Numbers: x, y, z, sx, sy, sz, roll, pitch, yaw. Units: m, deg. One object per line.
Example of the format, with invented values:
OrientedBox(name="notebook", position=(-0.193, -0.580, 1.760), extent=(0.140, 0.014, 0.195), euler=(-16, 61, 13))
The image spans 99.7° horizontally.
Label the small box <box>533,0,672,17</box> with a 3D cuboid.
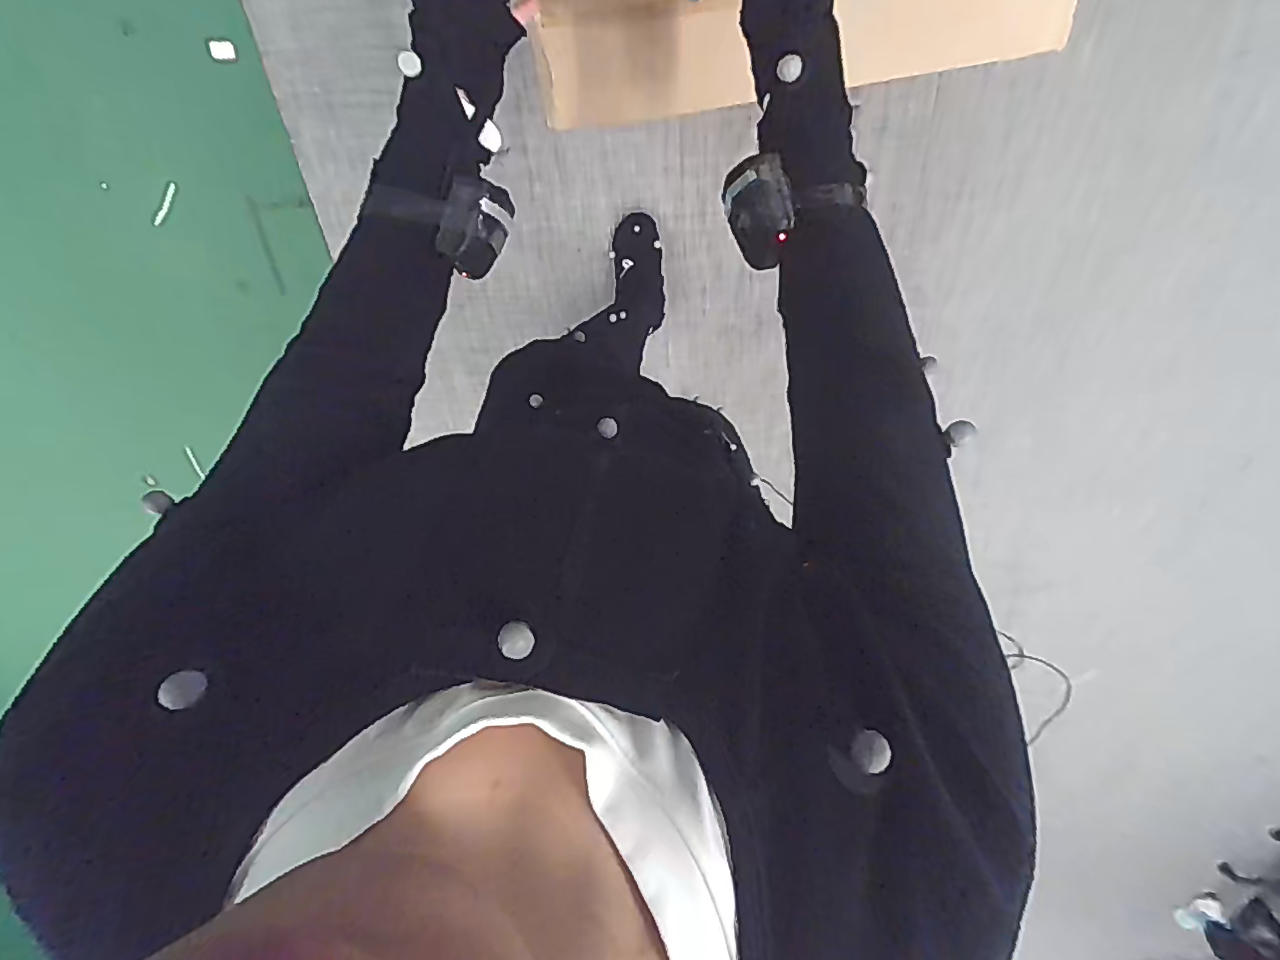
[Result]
OrientedBox(name="small box", position=(-0.010, -0.486, 0.417), extent=(0.179, 0.176, 0.168), euler=(-5, 124, 8))
